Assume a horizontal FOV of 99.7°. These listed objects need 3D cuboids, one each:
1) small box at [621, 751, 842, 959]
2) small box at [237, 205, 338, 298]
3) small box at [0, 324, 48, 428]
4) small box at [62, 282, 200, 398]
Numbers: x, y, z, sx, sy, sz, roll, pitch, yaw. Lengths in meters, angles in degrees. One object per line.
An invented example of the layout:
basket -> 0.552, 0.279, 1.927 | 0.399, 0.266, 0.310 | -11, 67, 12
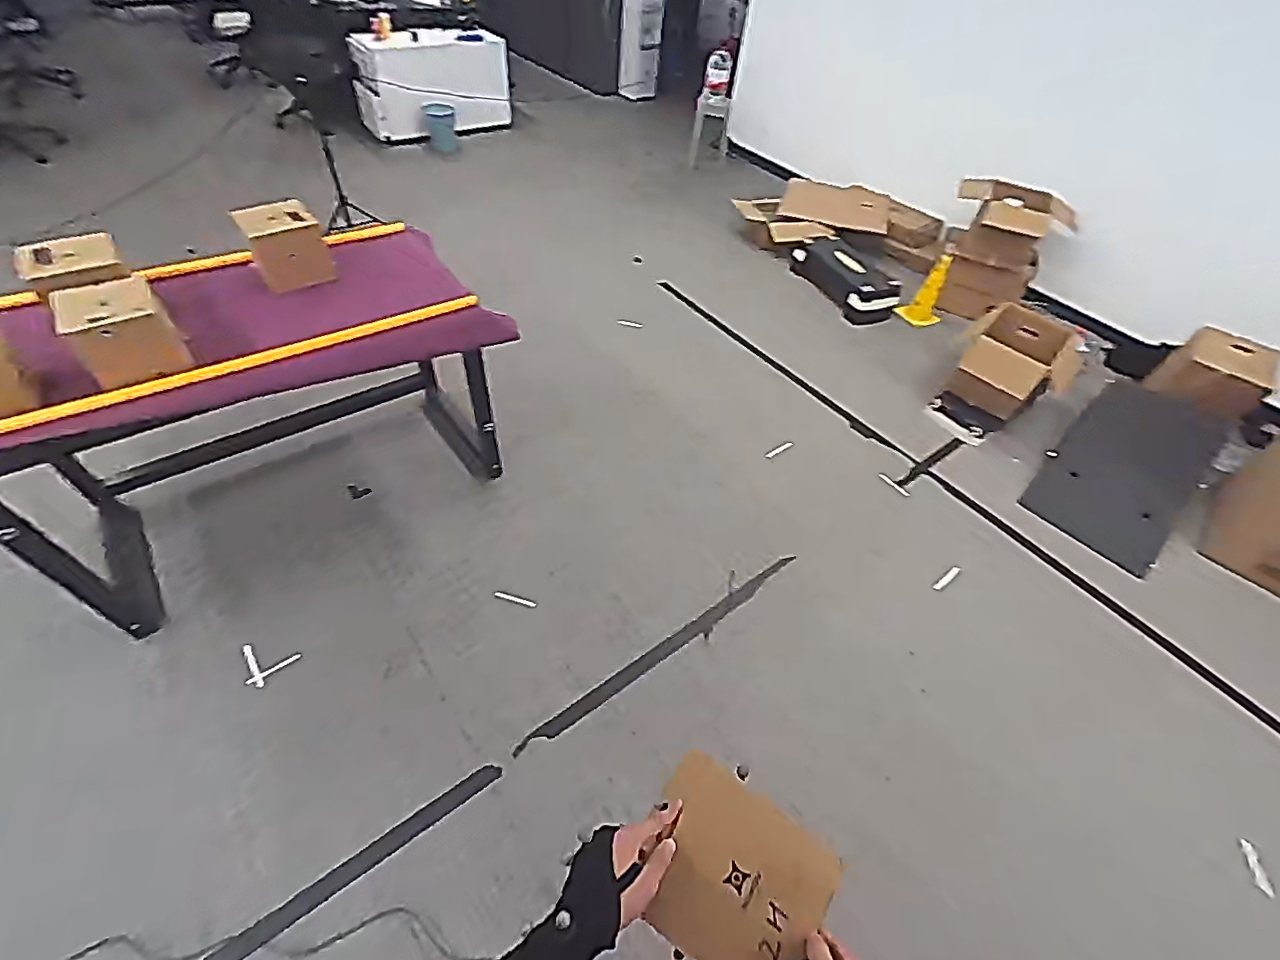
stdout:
small box -> 0.091, 0.439, 0.627 | 0.179, 0.176, 0.168 | 34, 69, 8
small box -> -0.987, -0.646, 1.534 | 0.179, 0.176, 0.168 | -31, 60, -27
small box -> -1.379, -0.210, 1.110 | 0.179, 0.176, 0.168 | -28, 57, -27
small box -> -1.150, -0.318, 1.231 | 0.168, 0.176, 0.179 | -28, 57, -26
